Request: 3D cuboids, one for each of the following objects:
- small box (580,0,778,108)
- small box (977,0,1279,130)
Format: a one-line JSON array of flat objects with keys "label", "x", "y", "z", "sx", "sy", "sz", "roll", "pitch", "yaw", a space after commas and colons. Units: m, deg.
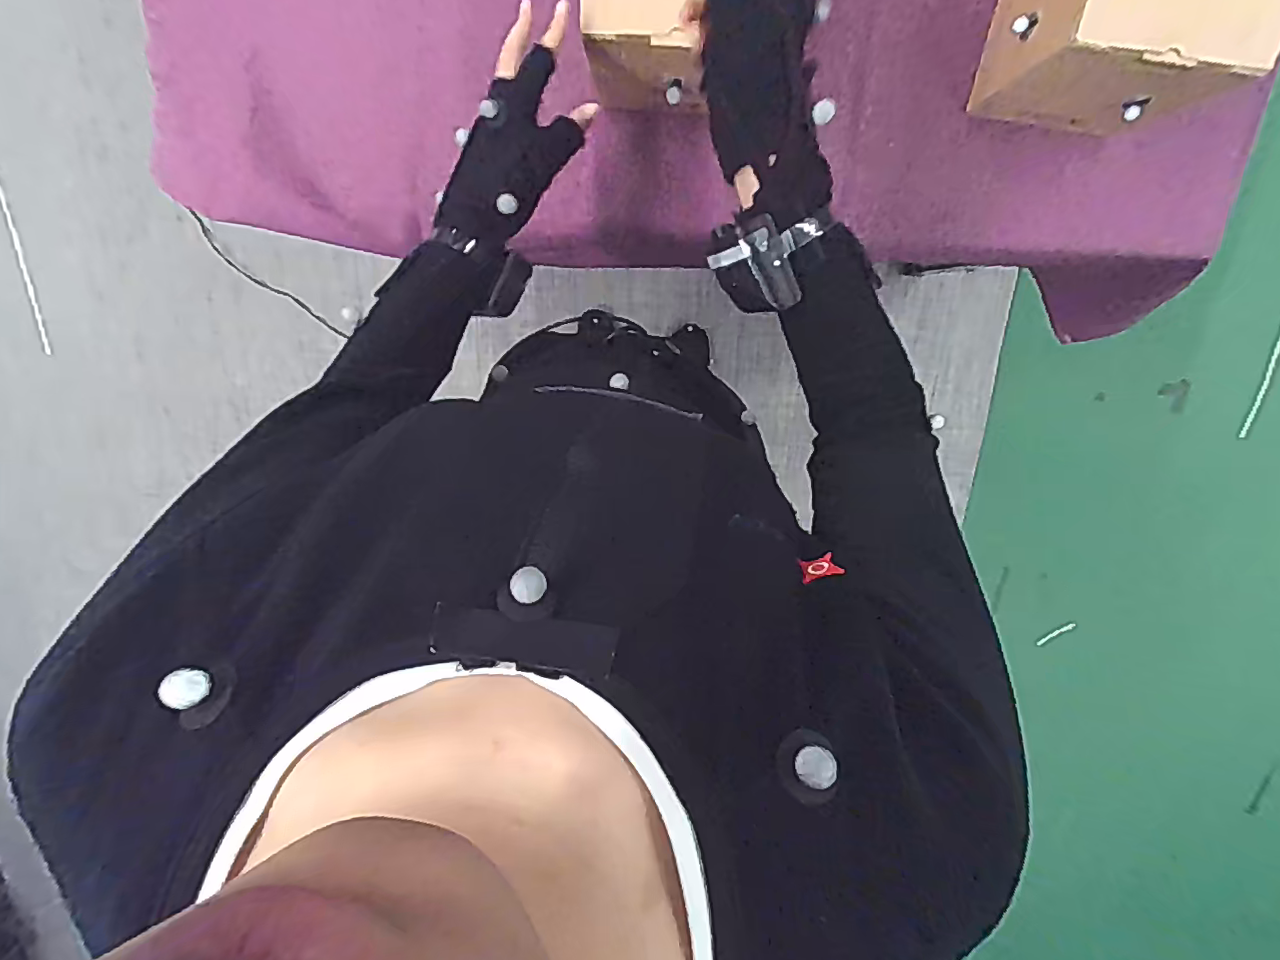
[{"label": "small box", "x": 0.040, "y": -0.470, "z": 0.499, "sx": 0.168, "sy": 0.176, "sz": 0.179, "roll": 4, "pitch": 108, "yaw": 1}, {"label": "small box", "x": 0.445, "y": -0.445, "z": 0.487, "sx": 0.168, "sy": 0.176, "sz": 0.179, "roll": 9, "pitch": 107, "yaw": 0}]
